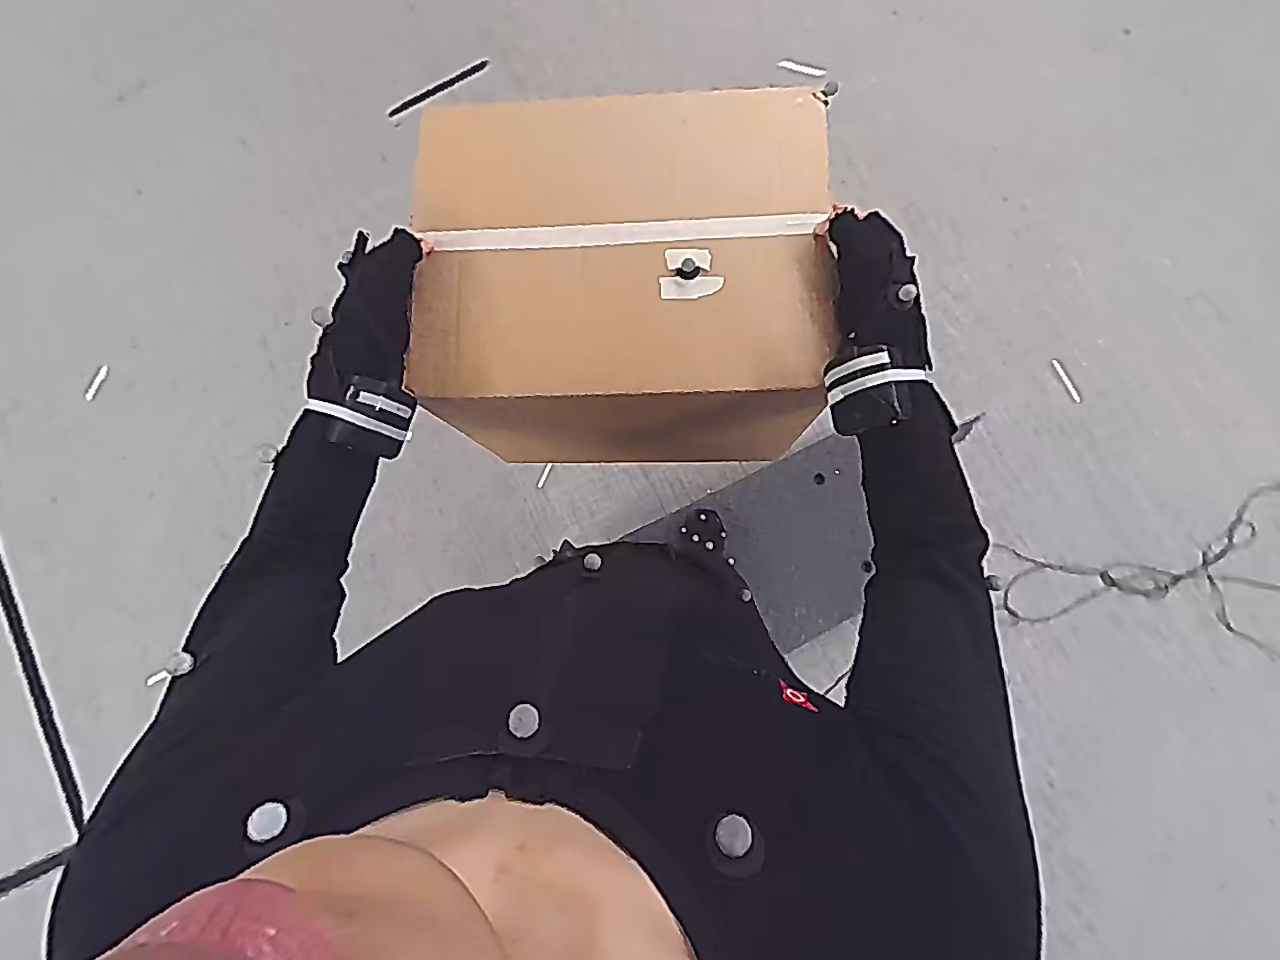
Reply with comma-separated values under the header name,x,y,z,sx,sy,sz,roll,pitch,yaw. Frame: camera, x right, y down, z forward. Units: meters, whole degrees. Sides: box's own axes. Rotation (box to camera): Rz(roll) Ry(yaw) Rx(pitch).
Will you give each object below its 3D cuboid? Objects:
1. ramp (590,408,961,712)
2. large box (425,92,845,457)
name,x,y,z,sx,sy,sz,roll,pitch,yaw
ramp,0.404,0.196,1.553,0.991,0.206,0.509,-28,81,0
large box,-0.003,-0.214,0.678,0.408,0.320,0.320,0,80,3
